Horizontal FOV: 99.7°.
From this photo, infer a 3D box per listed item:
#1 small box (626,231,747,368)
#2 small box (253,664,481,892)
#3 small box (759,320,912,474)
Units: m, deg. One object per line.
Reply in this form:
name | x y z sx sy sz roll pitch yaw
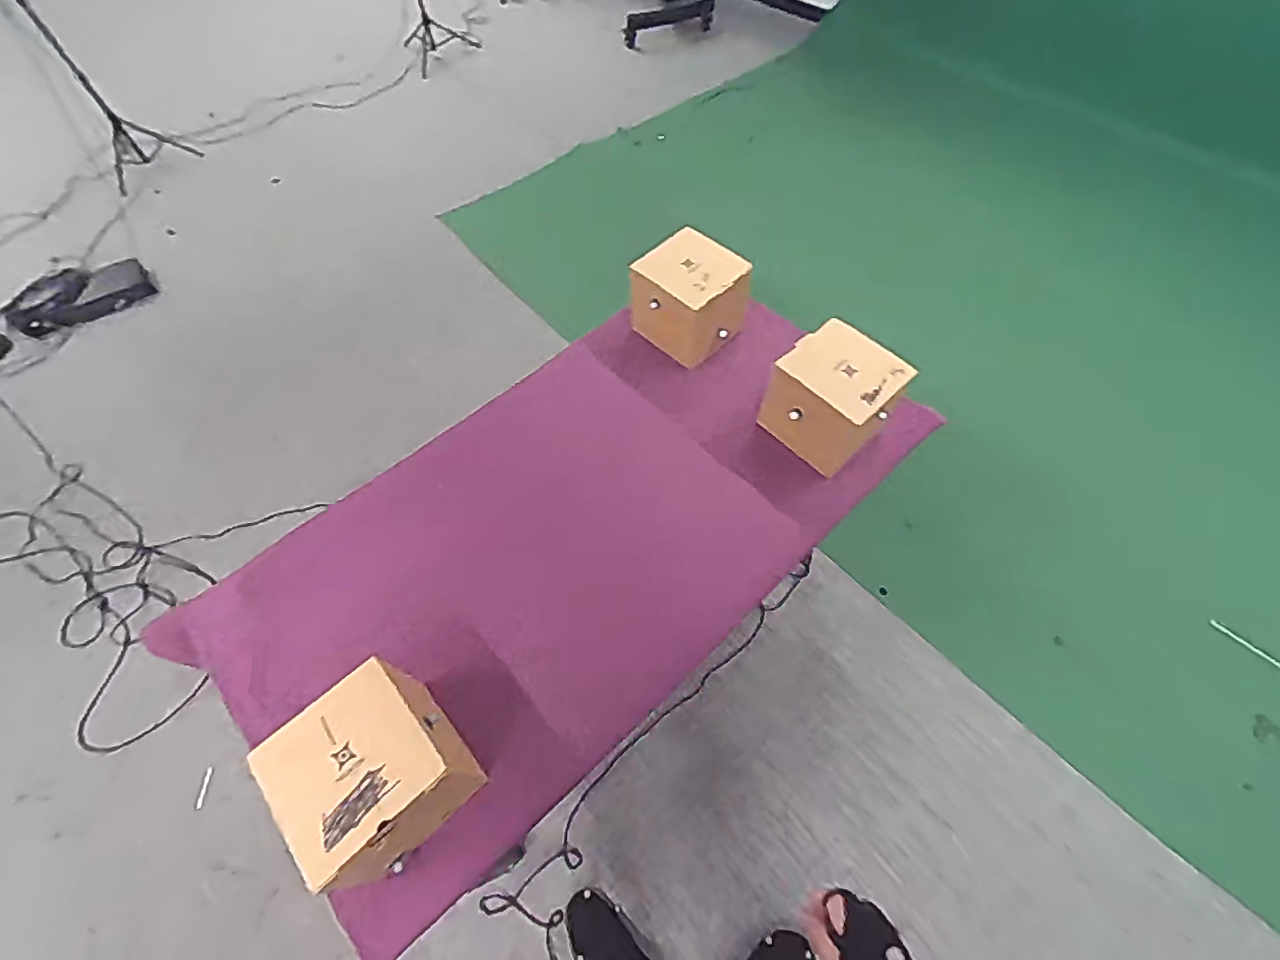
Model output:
small box | 0.093 -0.364 1.104 0.168 0.176 0.179 -42 67 -17
small box | -0.332 0.371 0.691 0.168 0.176 0.179 -39 64 -19
small box | 0.334 -0.143 0.966 0.168 0.176 0.179 -39 66 -17
